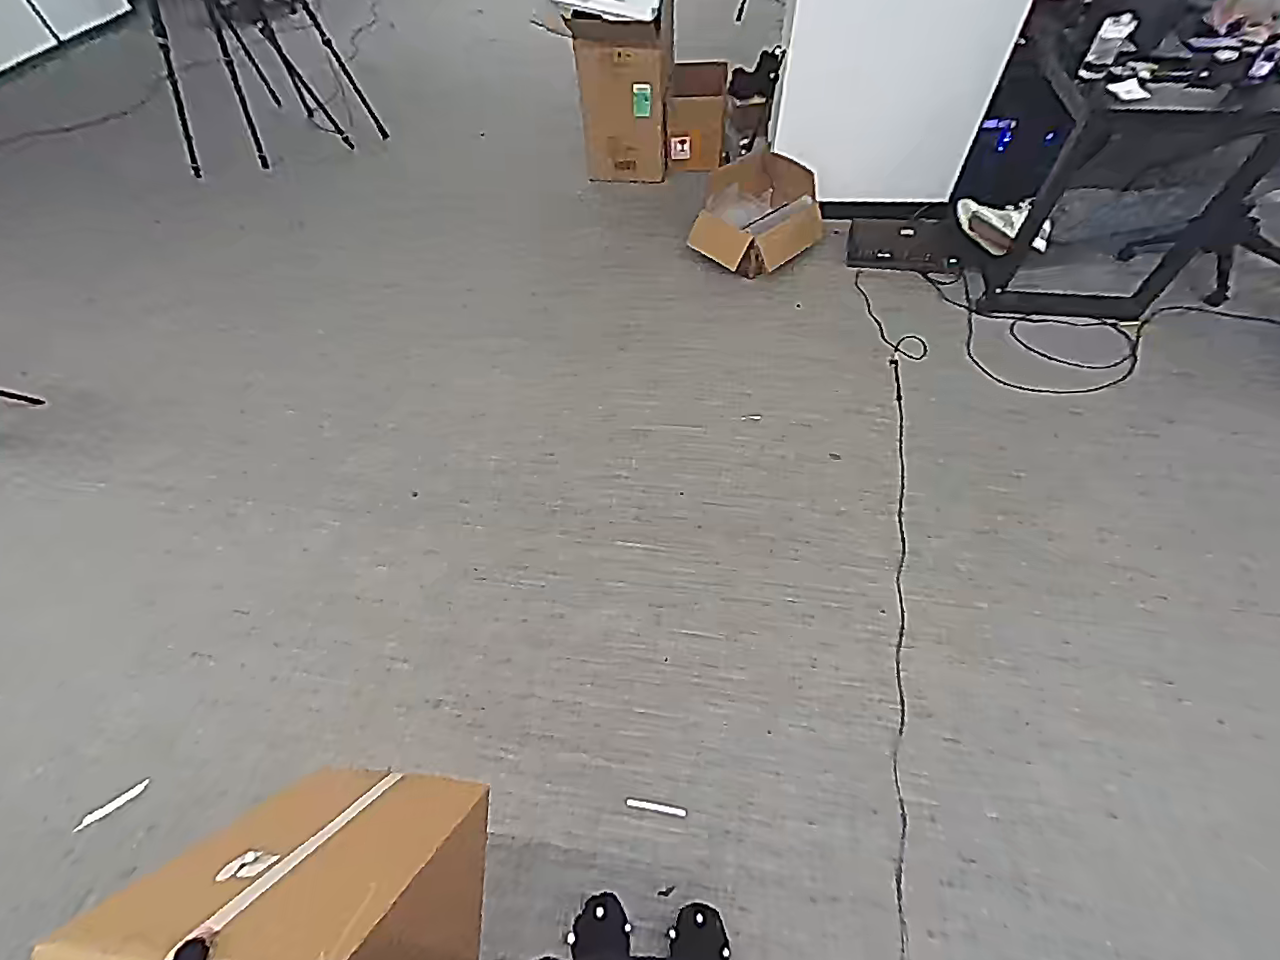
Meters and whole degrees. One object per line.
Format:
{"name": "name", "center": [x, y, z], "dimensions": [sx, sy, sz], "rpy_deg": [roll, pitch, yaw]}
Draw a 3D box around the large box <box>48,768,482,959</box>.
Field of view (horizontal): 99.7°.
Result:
{"name": "large box", "center": [-0.441, 0.645, 0.719], "dimensions": [0.320, 0.408, 0.320], "rpy_deg": [1, 87, 7]}
